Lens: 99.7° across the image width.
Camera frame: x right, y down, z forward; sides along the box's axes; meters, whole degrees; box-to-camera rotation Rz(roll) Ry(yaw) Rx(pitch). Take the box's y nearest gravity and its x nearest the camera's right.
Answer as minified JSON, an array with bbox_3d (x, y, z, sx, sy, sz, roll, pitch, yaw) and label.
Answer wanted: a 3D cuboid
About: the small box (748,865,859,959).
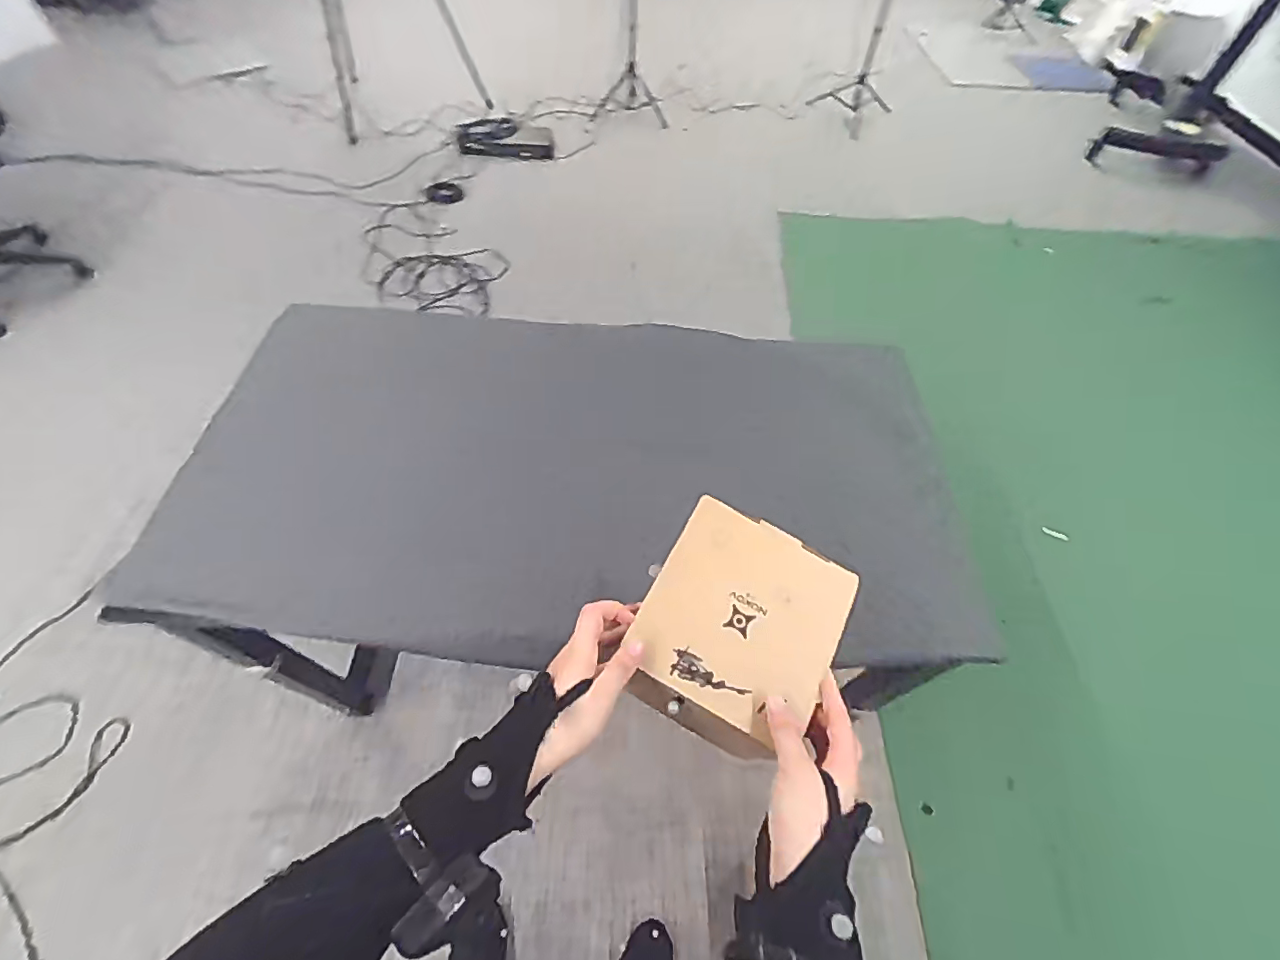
[{"bbox_3d":[0.314,0.871,1.065,0.168,0.176,0.179,1,55,-1],"label":"small box"}]
